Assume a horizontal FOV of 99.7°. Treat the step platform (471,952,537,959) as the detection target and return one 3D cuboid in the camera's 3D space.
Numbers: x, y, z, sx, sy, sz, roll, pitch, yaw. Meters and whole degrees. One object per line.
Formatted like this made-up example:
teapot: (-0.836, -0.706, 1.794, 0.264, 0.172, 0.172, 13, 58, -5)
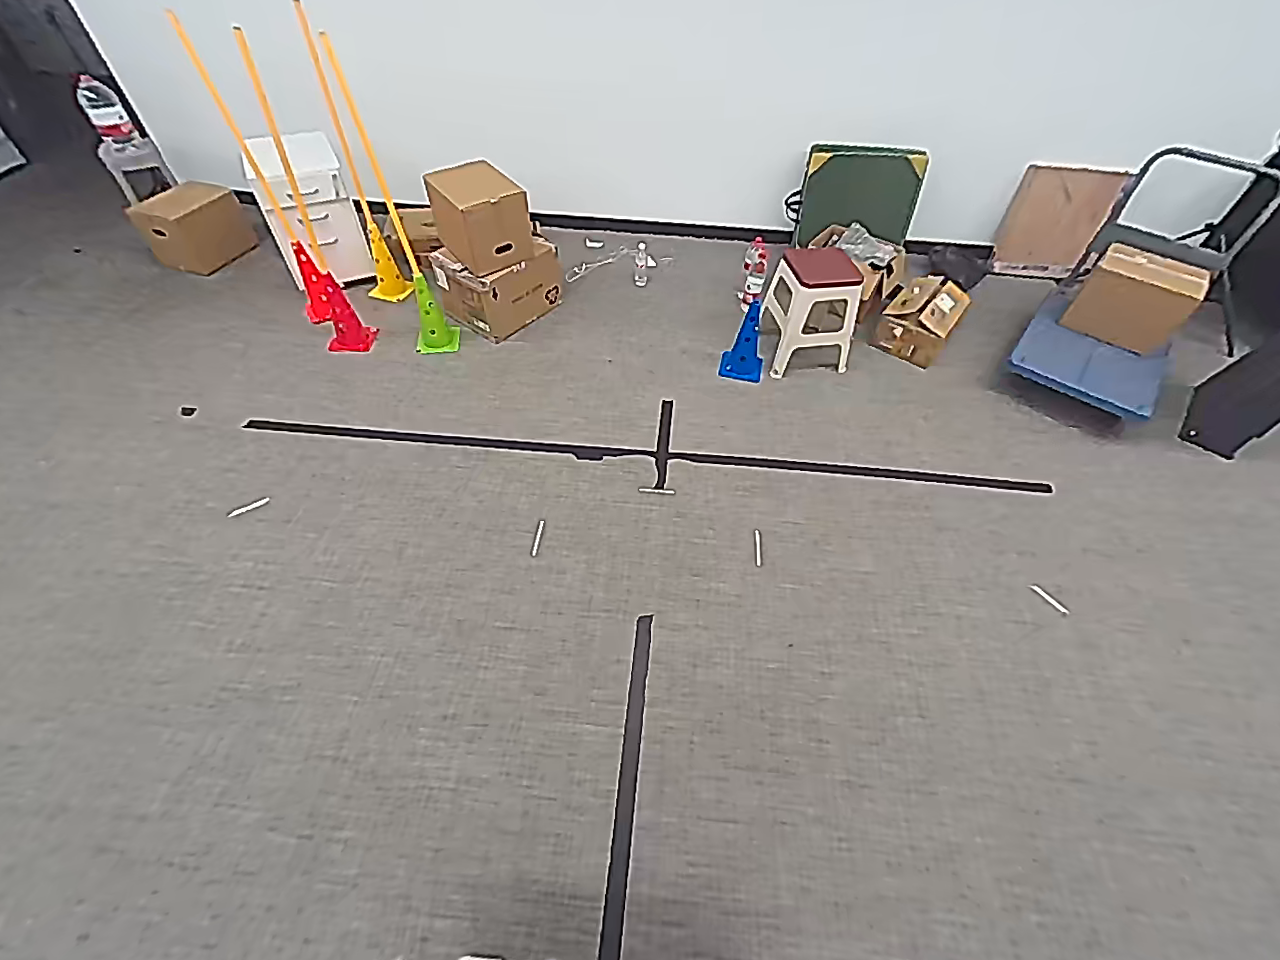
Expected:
step platform: (-0.053, 1.158, 1.078, 0.684, 0.204, 0.286, 5, 50, 0)
